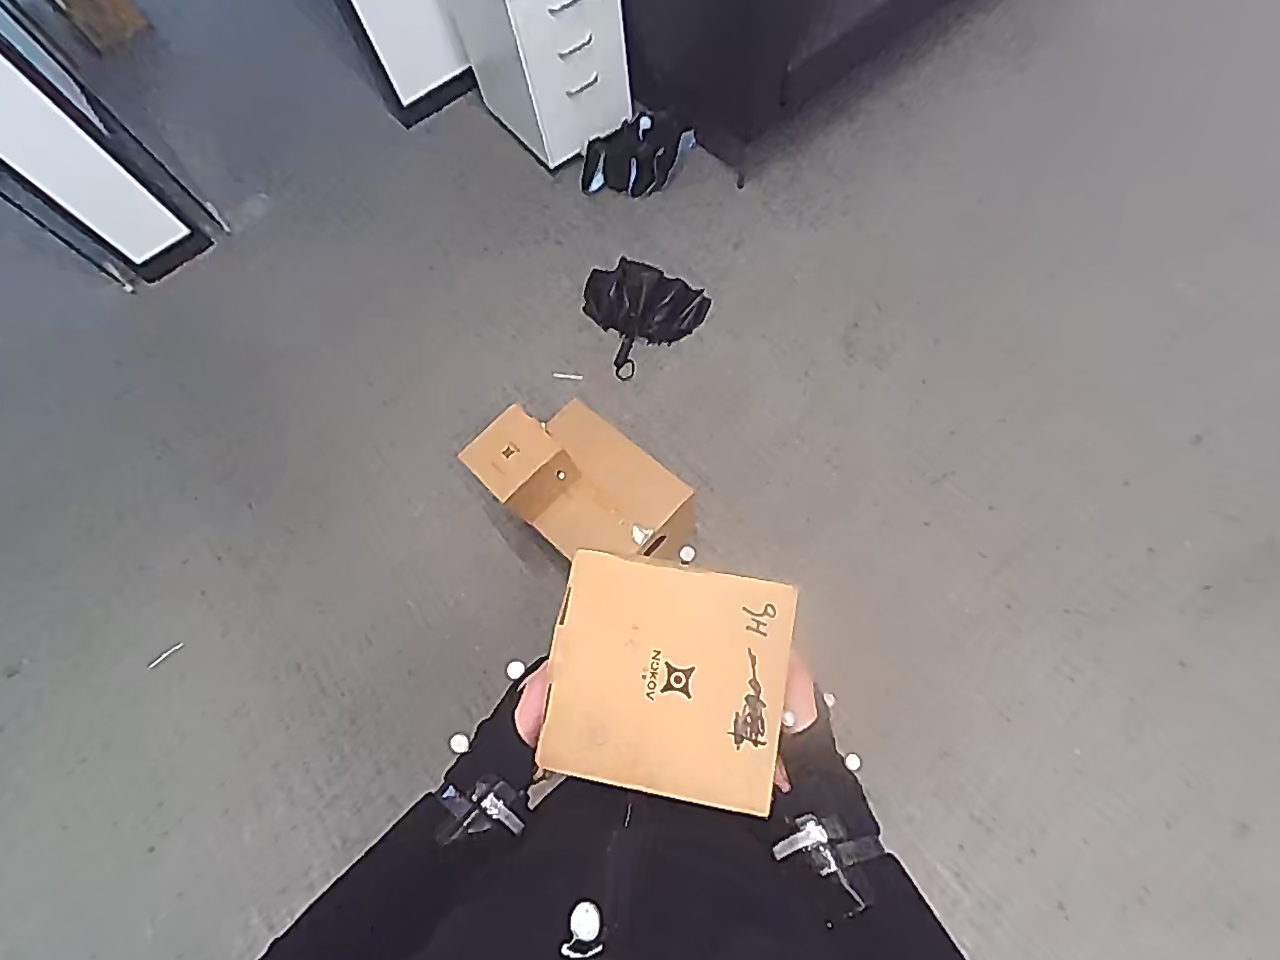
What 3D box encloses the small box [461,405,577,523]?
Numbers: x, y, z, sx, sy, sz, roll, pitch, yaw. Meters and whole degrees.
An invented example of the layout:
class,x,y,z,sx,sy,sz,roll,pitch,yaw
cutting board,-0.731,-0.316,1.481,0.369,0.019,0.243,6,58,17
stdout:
class,x,y,z,sx,sy,sz,roll,pitch,yaw
small box,-0.264,-0.031,1.233,0.168,0.176,0.179,41,82,21
